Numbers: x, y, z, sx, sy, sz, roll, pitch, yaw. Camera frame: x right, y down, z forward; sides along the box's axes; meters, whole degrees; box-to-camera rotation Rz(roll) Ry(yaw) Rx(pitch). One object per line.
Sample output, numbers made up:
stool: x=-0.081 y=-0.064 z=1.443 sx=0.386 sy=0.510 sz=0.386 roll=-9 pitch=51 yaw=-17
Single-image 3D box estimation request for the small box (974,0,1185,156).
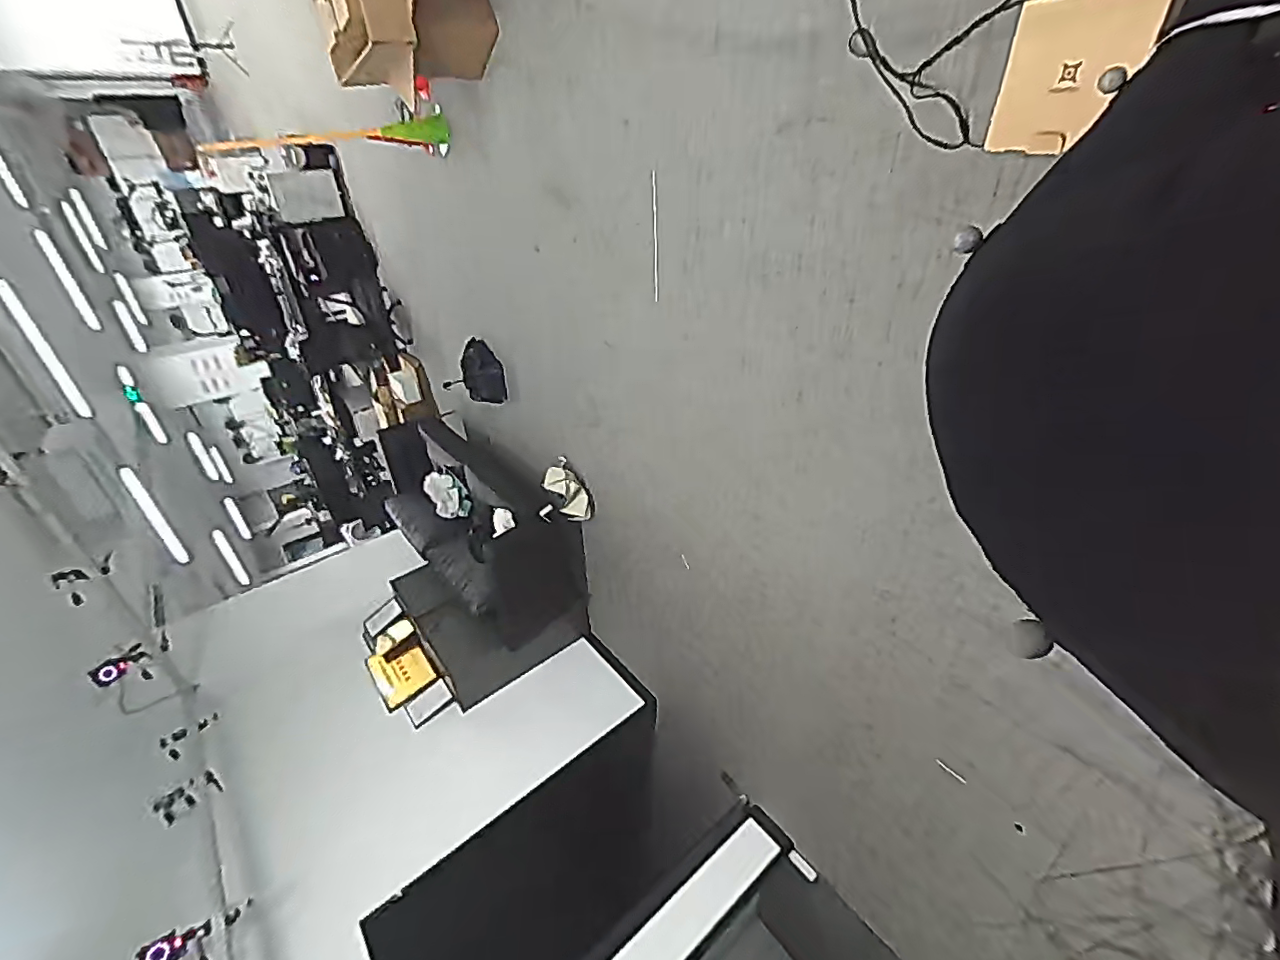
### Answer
small box: x=0.623 y=-0.574 z=0.772 sx=0.168 sy=0.176 sz=0.179 roll=34 pitch=140 yaw=40
